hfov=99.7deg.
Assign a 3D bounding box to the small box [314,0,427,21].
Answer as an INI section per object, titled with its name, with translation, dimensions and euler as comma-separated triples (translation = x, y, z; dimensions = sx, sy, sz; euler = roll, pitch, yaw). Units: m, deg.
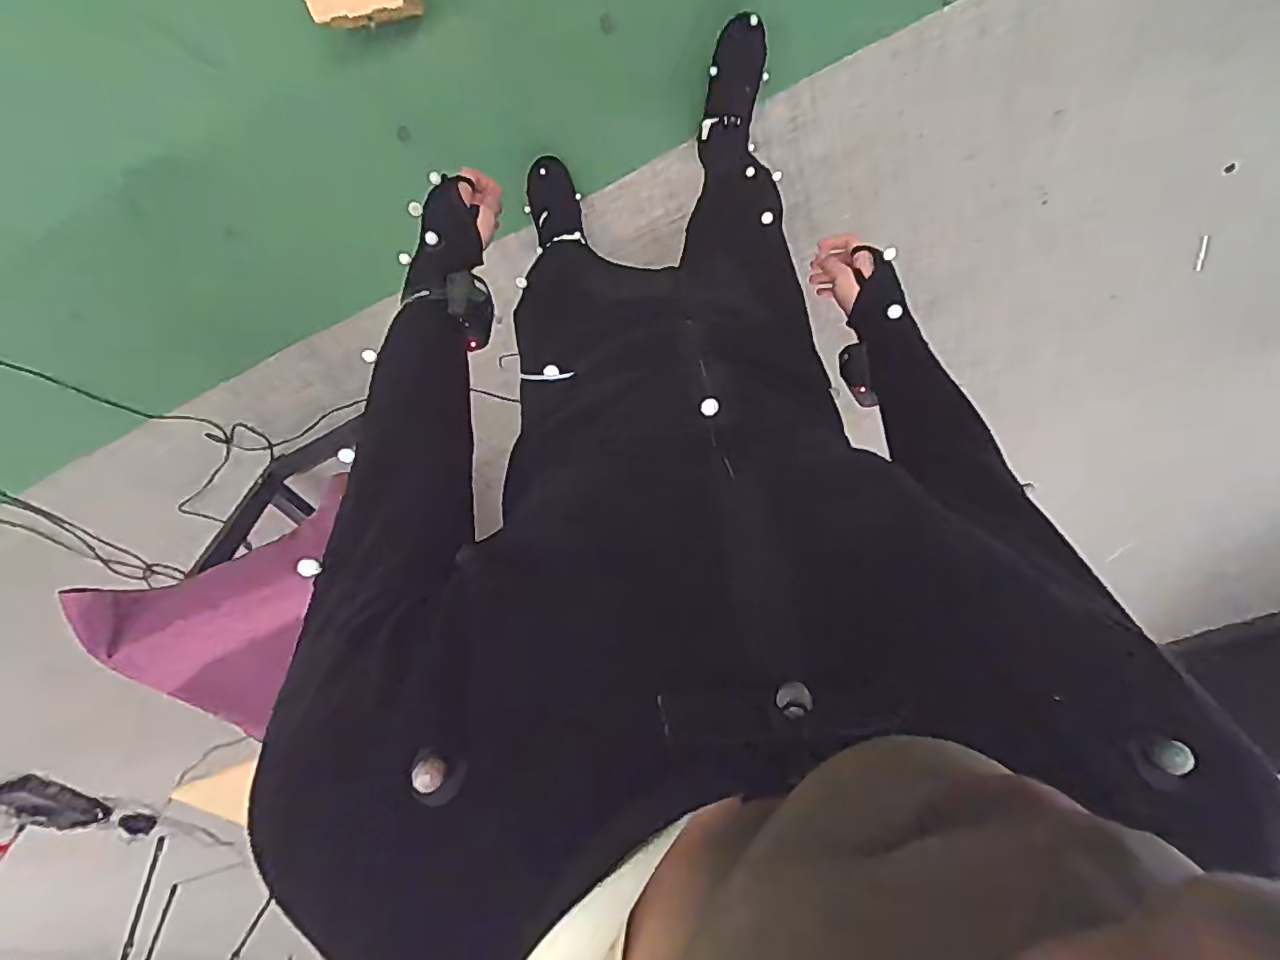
[small box]
translation = -0.502, -0.943, 0.958
dimensions = 0.168, 0.176, 0.179
euler = -10, 130, 1
